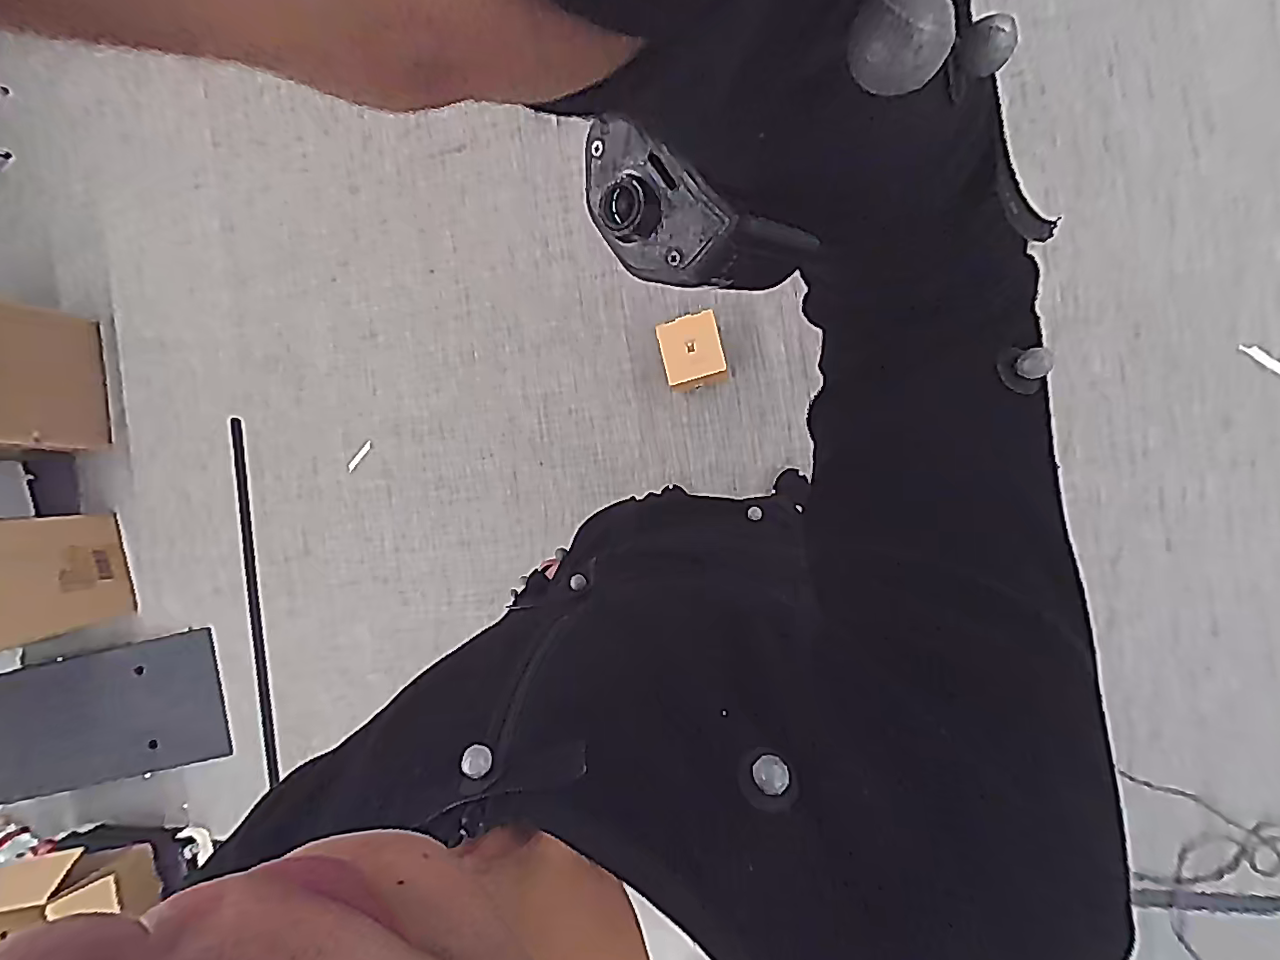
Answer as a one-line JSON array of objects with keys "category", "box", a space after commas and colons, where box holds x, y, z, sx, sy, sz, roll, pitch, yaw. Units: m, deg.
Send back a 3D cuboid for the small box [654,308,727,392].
[{"category": "small box", "box": [0.150, -0.368, 1.558, 0.168, 0.176, 0.179, -13, 88, 13]}]
